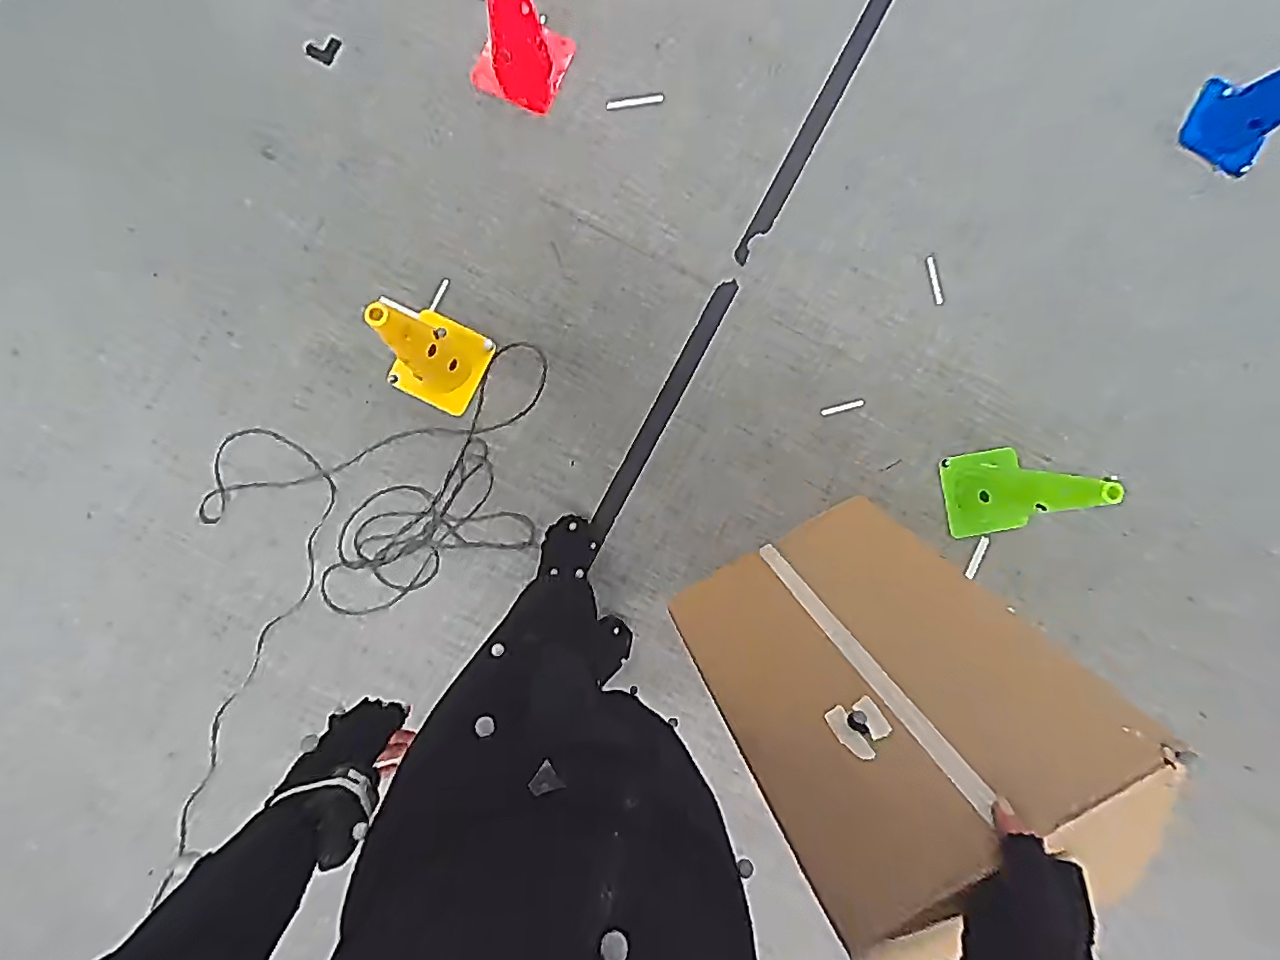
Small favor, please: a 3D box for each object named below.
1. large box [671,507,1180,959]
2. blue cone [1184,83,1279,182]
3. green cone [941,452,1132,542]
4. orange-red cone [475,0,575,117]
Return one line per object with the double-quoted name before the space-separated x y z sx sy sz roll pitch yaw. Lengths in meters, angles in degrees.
"large box" 0.285 0.307 0.666 0.320 0.408 0.320 -27 125 -4
"blue cone" 1.509 -0.883 1.219 0.192 0.380 0.193 31 88 -2
"green cone" 0.857 0.040 1.157 0.202 0.368 0.200 -10 90 -4
"orange-red cone" -0.275 -1.000 1.140 0.198 0.360 0.199 25 89 0
